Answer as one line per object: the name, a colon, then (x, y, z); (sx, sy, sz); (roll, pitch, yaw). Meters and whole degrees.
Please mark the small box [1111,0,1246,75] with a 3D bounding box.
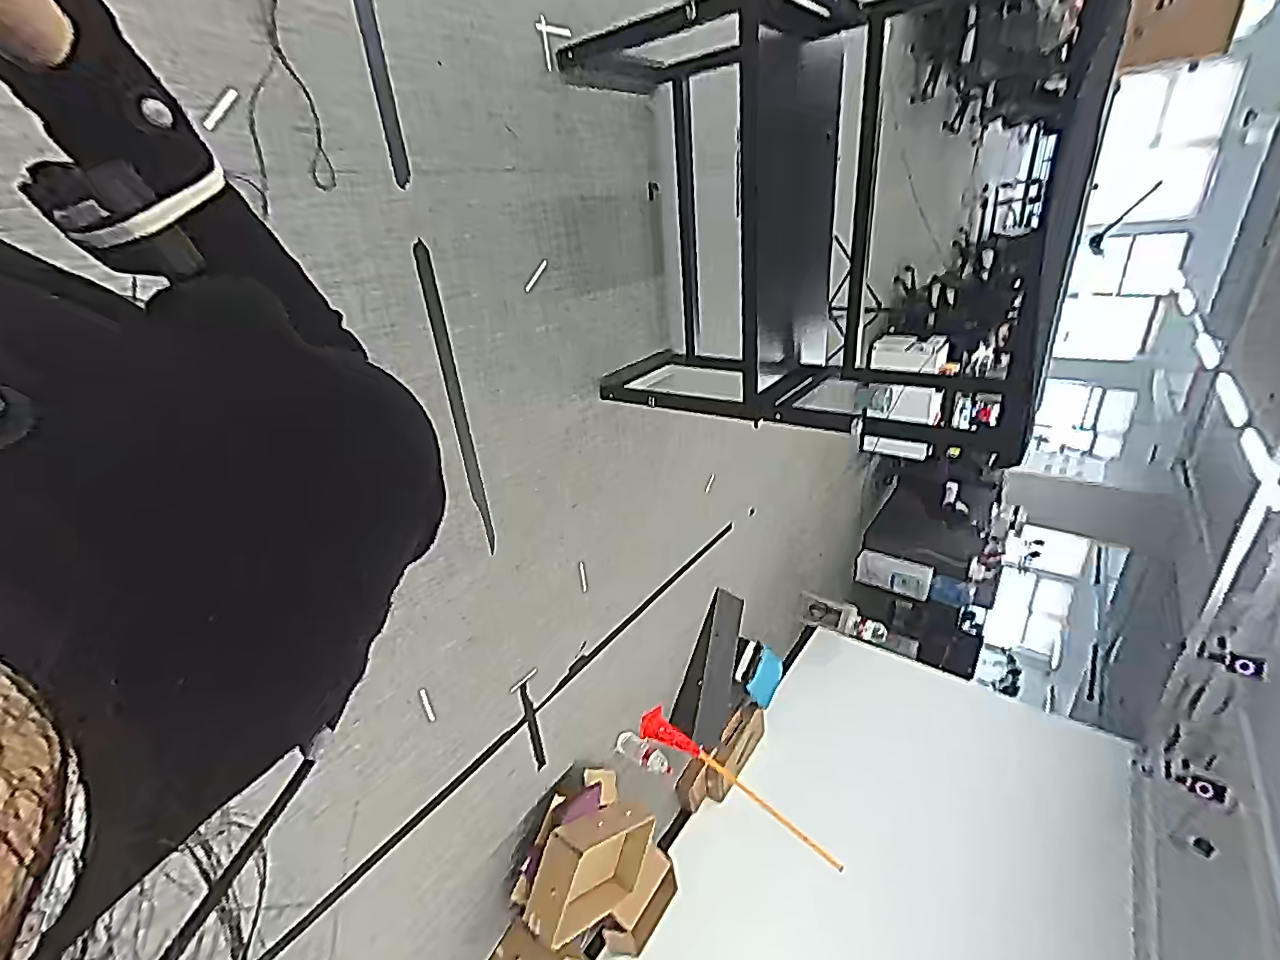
small box: (1.037, -0.899, 1.040); (0.179, 0.176, 0.168); (-36, 130, -43)
